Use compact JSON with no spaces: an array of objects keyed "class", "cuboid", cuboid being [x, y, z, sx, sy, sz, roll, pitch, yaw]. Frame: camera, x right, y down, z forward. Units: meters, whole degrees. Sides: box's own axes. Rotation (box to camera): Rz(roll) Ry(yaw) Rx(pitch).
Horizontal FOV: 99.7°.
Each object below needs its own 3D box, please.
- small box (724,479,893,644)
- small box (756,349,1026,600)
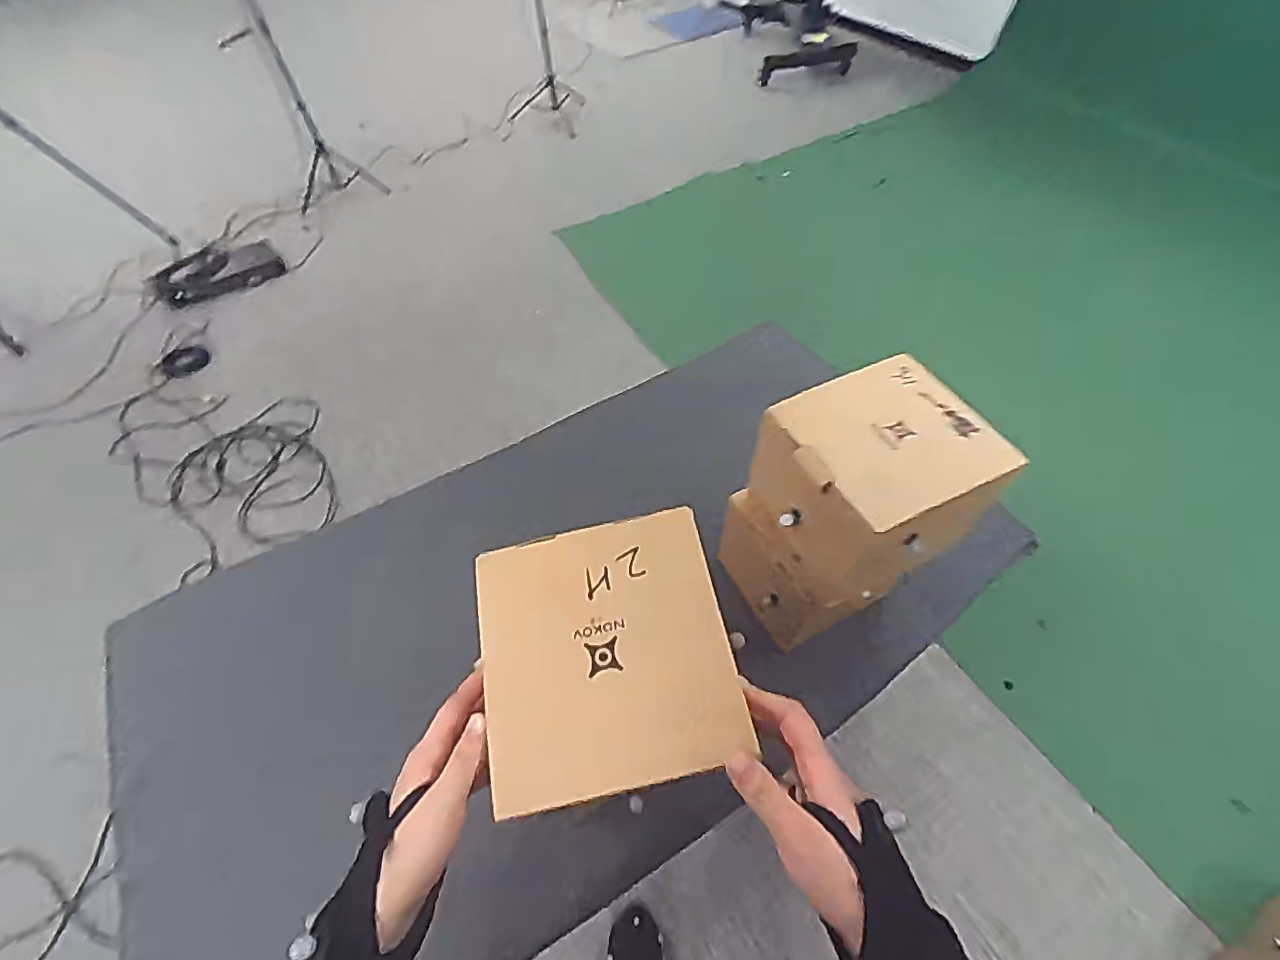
[{"class":"small box","cuboid":[0.224,0.087,0.708,0.179,0.176,0.168,-24,58,-15]},{"class":"small box","cuboid":[0.237,0.000,0.569,0.179,0.176,0.168,-22,57,-12]}]
